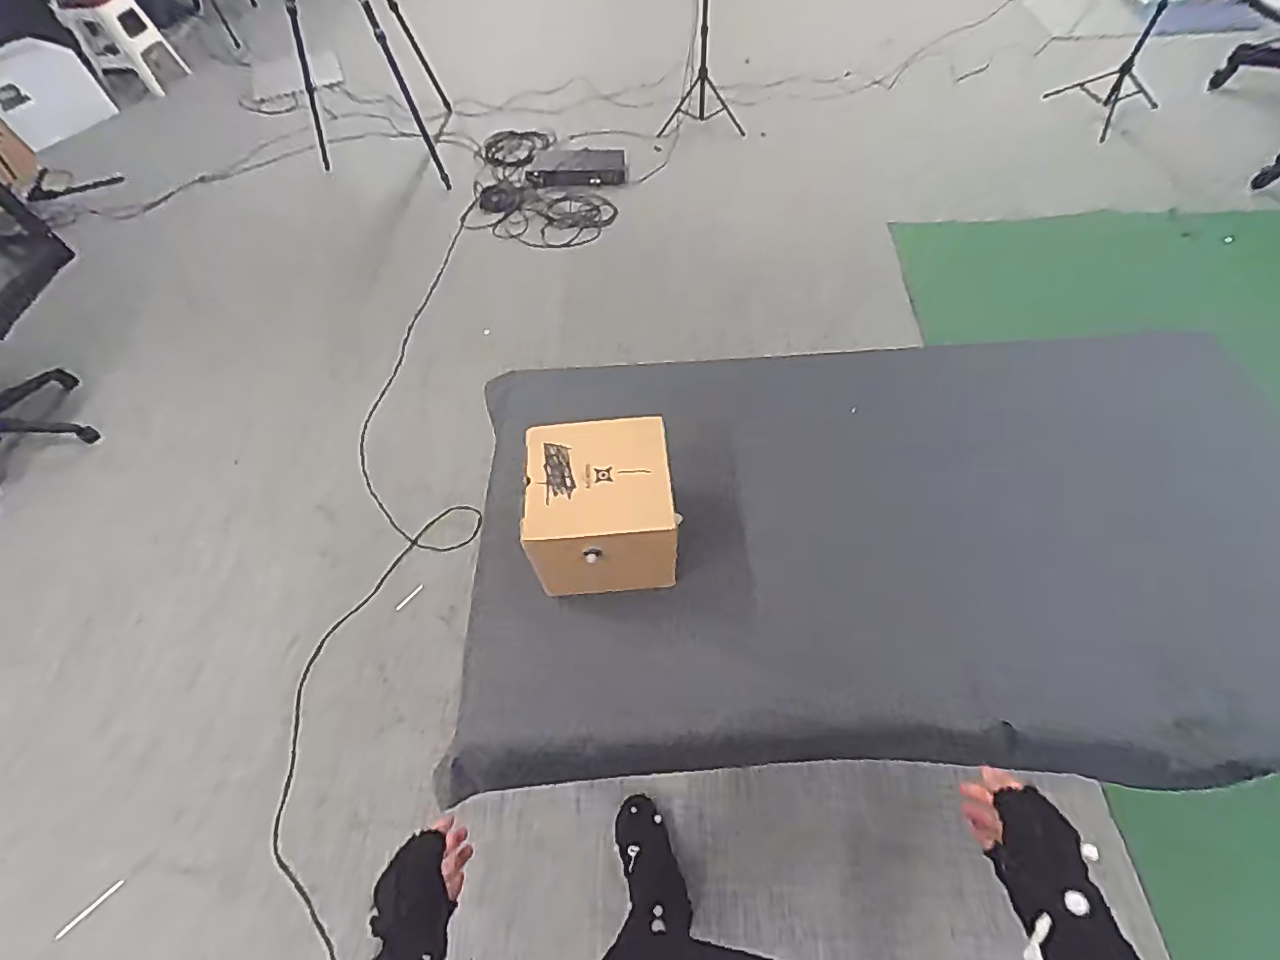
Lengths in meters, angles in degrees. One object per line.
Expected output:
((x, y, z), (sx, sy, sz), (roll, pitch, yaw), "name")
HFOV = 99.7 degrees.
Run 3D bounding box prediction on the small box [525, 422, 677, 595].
((-0.044, 0.044, 0.719), (0.179, 0.176, 0.168), (-5, 57, 0), "small box")
